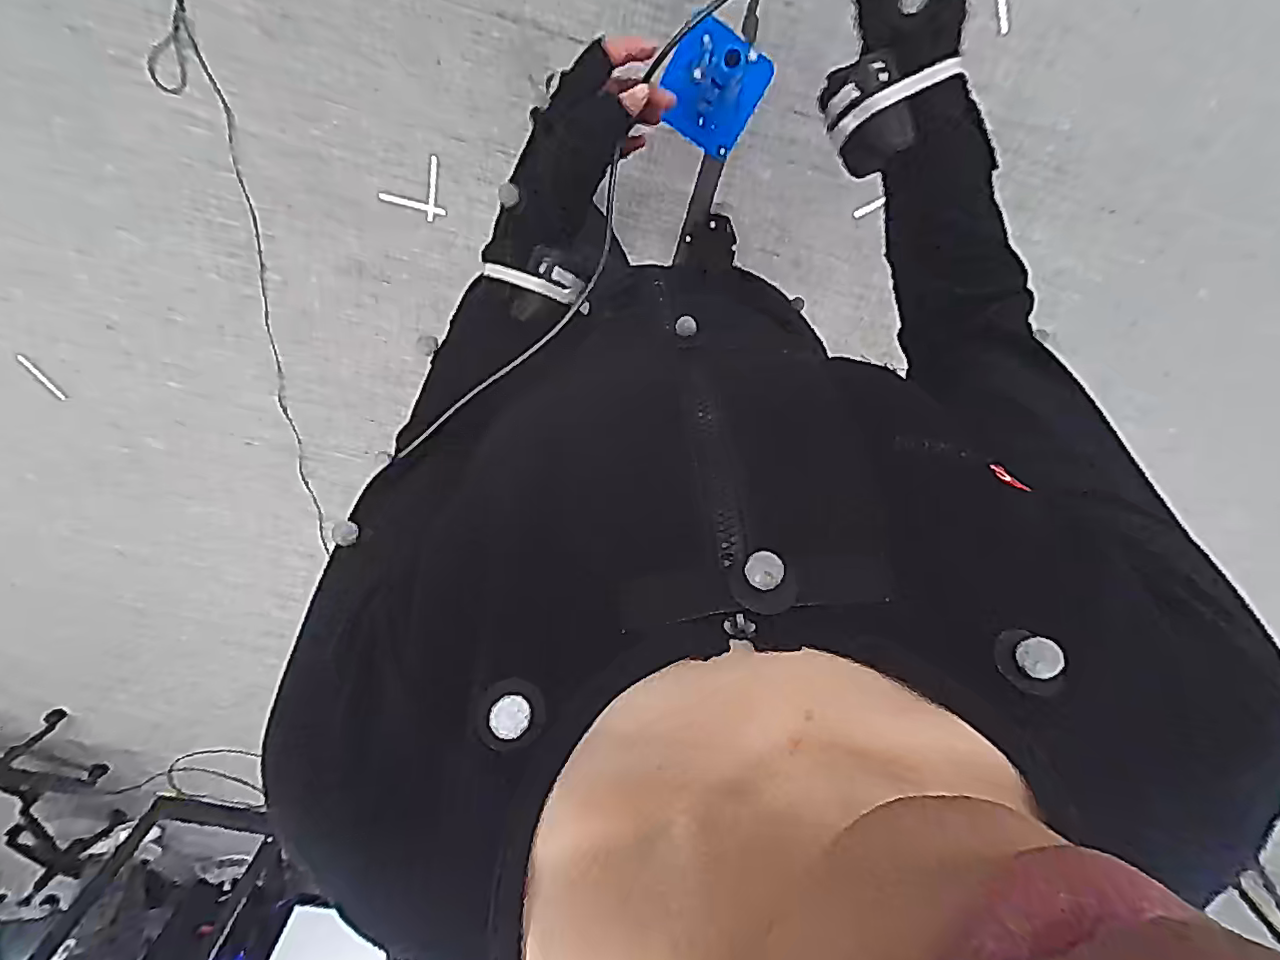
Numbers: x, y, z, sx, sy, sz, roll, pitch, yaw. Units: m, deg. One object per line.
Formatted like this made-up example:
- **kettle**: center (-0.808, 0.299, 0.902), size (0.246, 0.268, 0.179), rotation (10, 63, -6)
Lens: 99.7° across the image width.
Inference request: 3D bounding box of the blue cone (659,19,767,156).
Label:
- **blue cone**: center (0.150, -0.738, 0.993), size (0.192, 0.380, 0.193), rotation (28, 116, -15)
